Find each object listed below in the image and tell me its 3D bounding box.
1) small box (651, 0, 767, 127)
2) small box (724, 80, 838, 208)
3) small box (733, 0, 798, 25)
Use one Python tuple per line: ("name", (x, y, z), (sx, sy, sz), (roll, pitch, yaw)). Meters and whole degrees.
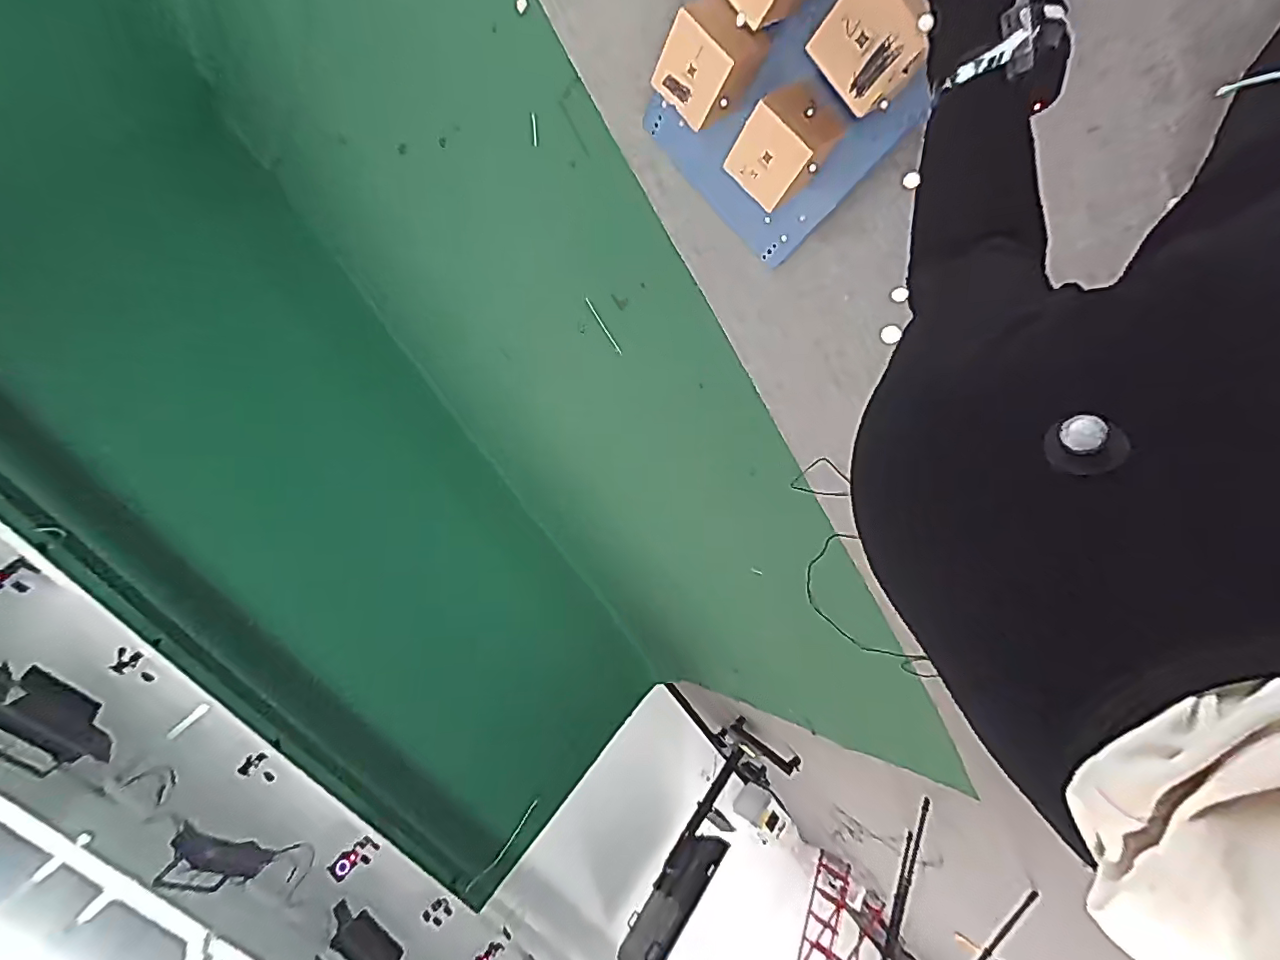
("small box", (0.162, -0.978, 1.257), (0.168, 0.176, 0.179), (45, 151, -3))
("small box", (0.338, -0.793, 1.273), (0.168, 0.176, 0.179), (46, 151, 0))
("small box", (0.260, -1.045, 1.044), (0.168, 0.176, 0.179), (47, 151, -5))
